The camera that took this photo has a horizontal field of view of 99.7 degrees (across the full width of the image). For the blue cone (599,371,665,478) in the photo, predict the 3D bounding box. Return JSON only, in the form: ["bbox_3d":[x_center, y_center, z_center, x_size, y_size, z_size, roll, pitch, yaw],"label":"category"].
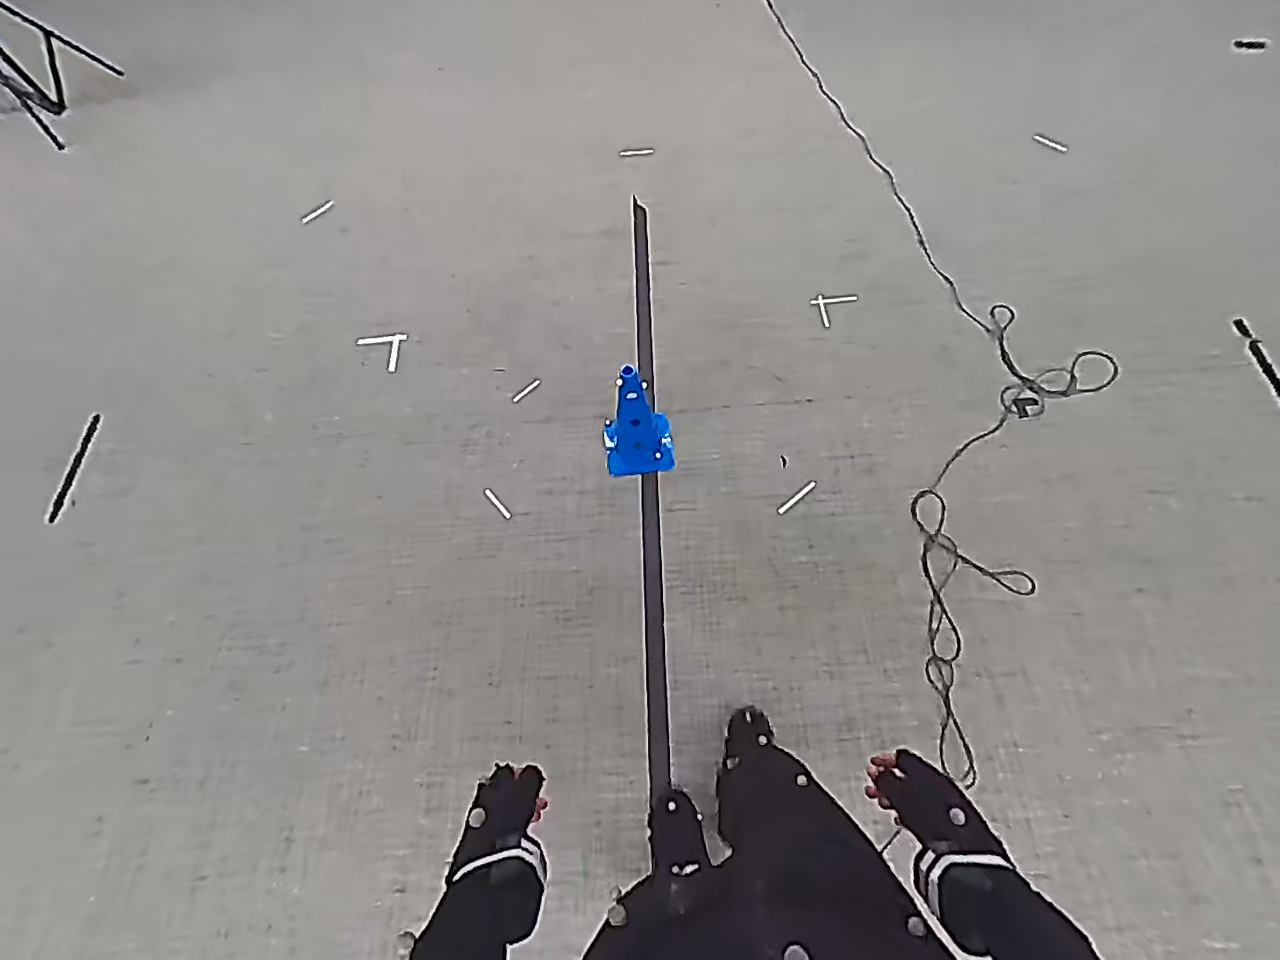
[{"bbox_3d":[-0.038,-0.173,1.485,0.192,0.380,0.193,-7,63,2],"label":"blue cone"}]
